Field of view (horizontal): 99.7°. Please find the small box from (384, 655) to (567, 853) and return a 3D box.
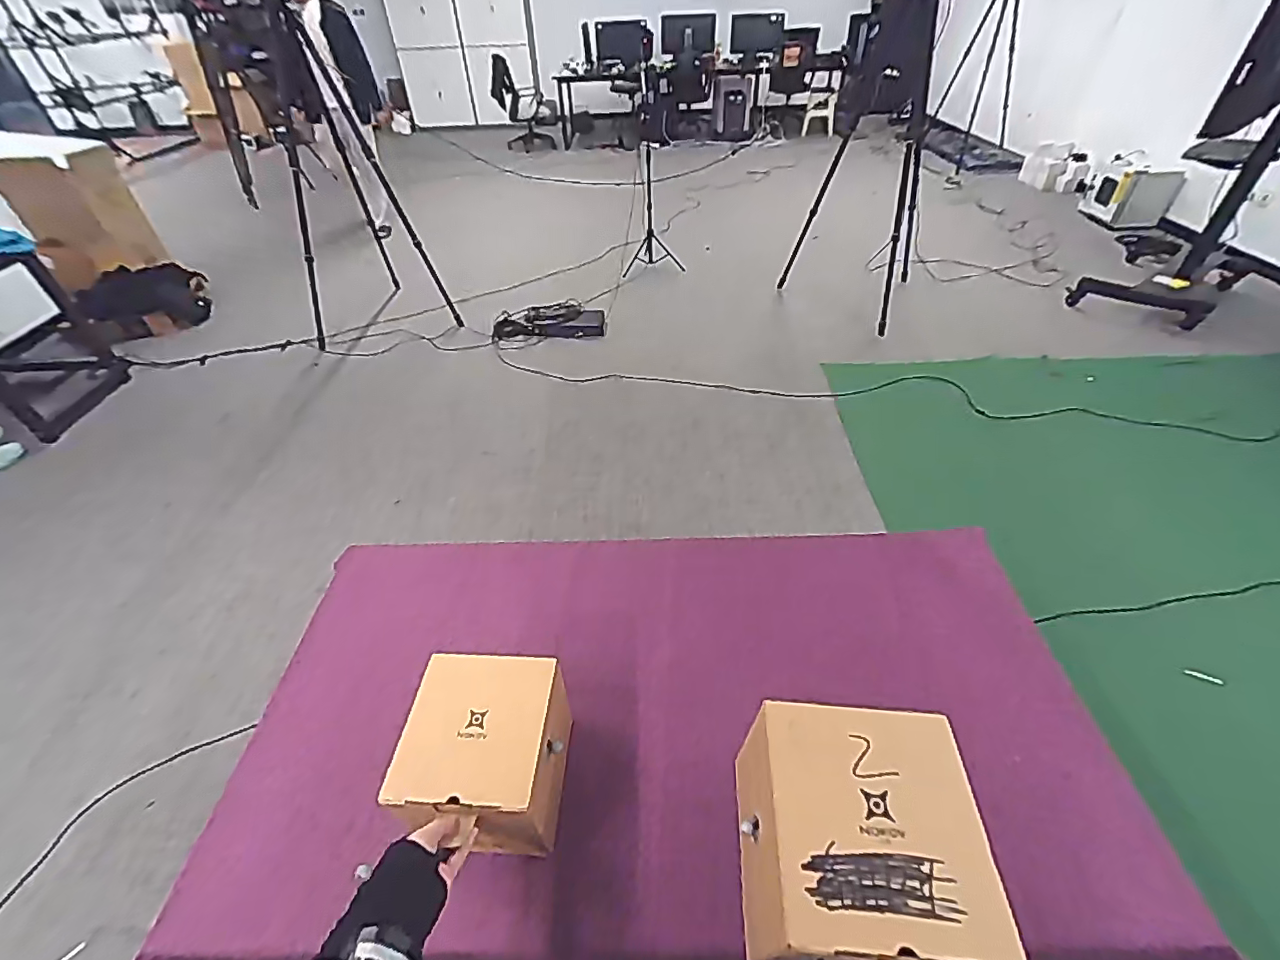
[{"bbox_3d":[-0.193,0.351,0.697,0.168,0.176,0.179,1,43,4],"label":"small box"}]
